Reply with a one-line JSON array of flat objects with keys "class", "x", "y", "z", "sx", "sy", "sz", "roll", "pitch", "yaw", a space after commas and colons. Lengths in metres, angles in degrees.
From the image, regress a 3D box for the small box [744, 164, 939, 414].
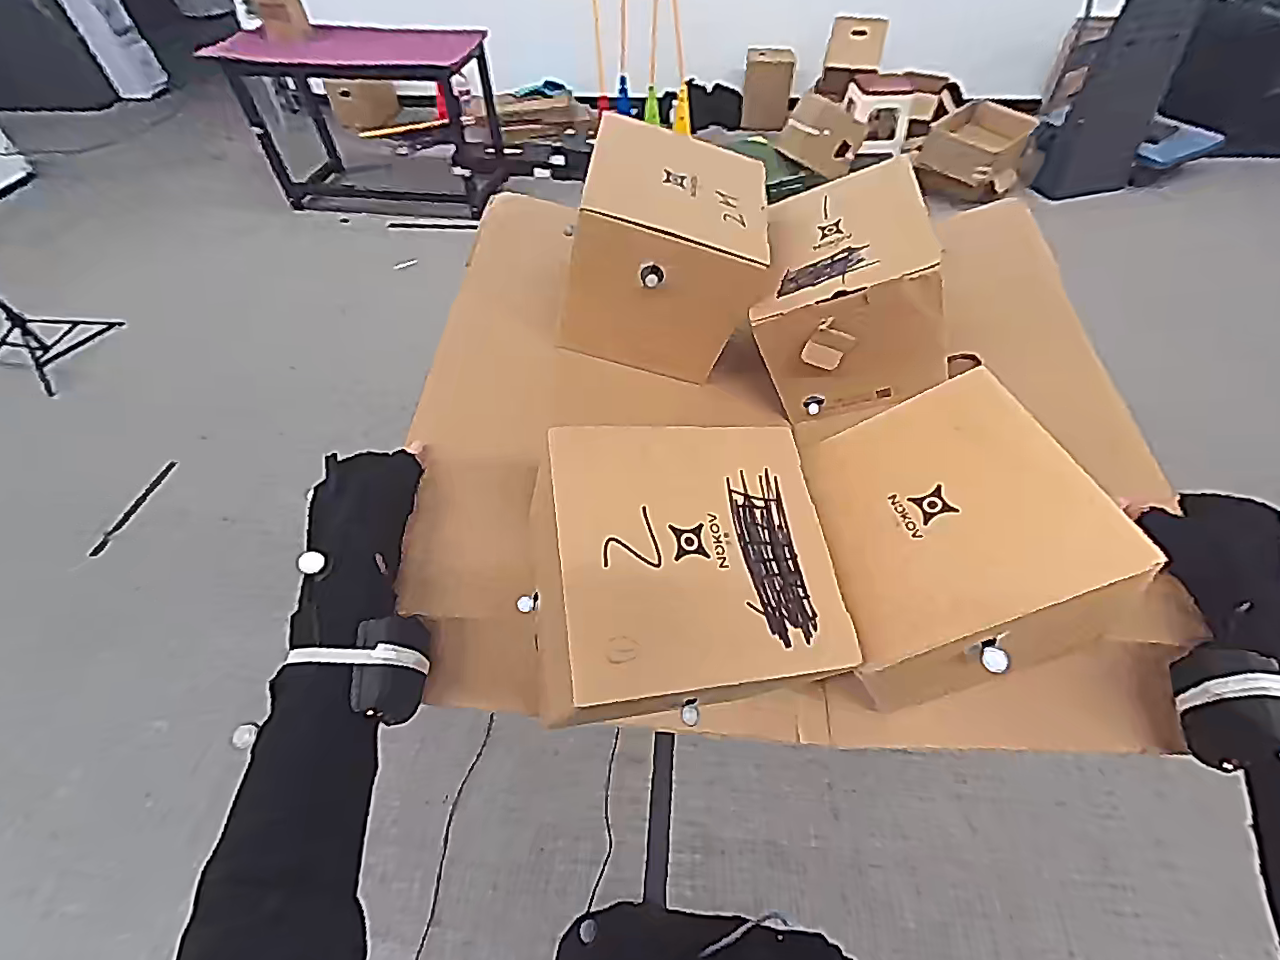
[{"class": "small box", "x": 0.218, "y": -0.190, "z": 0.590, "sx": 0.168, "sy": 0.176, "sz": 0.179, "roll": -11, "pitch": 54, "yaw": 25}]
